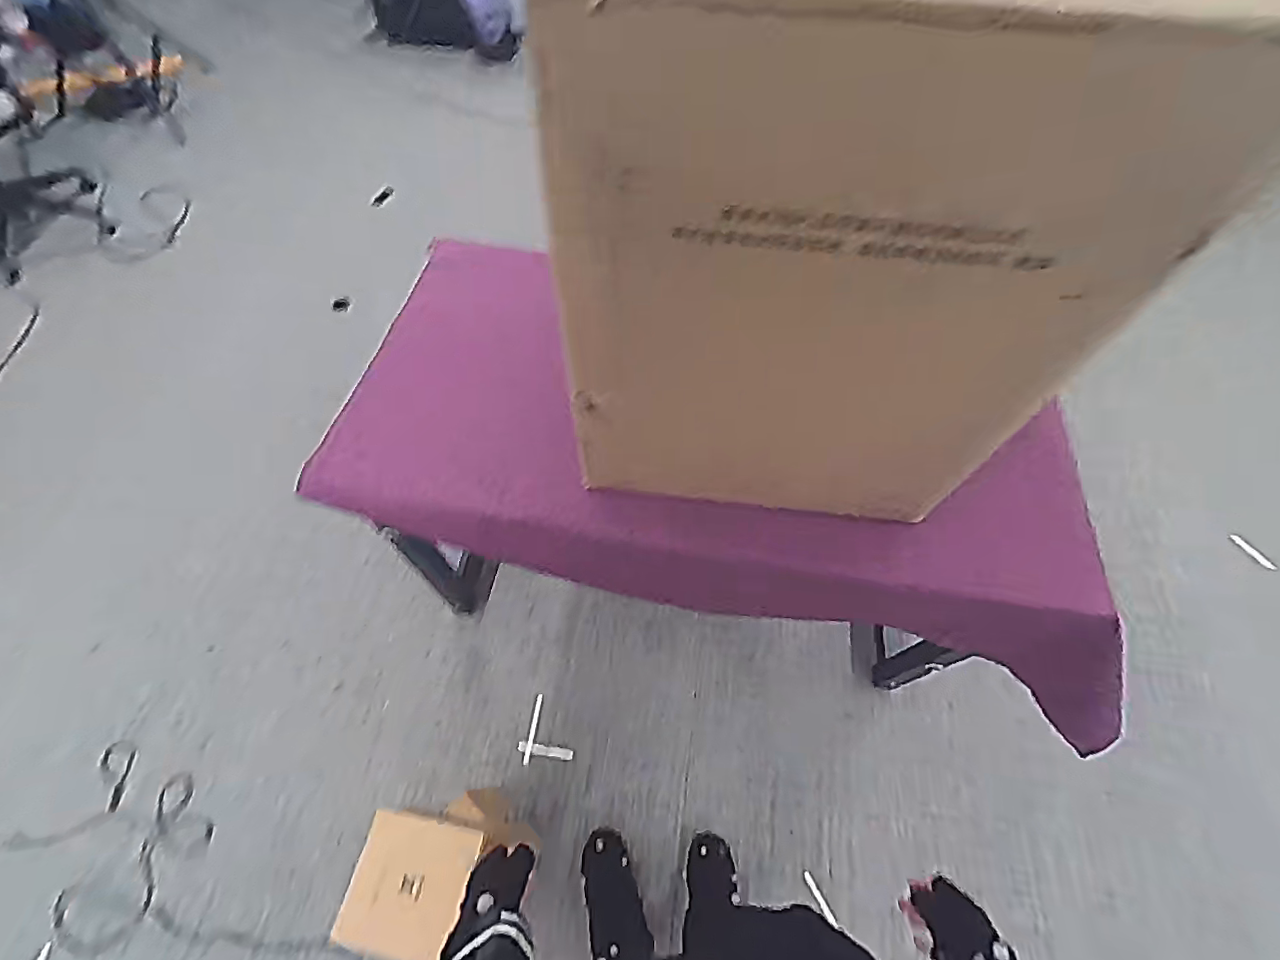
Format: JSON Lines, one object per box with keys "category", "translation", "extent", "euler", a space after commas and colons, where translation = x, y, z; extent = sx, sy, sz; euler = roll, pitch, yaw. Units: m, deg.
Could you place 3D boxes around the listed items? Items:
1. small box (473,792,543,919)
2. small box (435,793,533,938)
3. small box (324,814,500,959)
{"category": "small box", "translation": [-0.326, 0.788, 1.129], "extent": [0.179, 0.176, 0.168], "euler": [36, 65, 18]}
{"category": "small box", "translation": [-0.319, 0.708, 0.986], "extent": [0.179, 0.176, 0.168], "euler": [38, 65, 20]}
{"category": "small box", "translation": [-0.335, 0.631, 0.842], "extent": [0.179, 0.176, 0.168], "euler": [10, 58, 5]}
